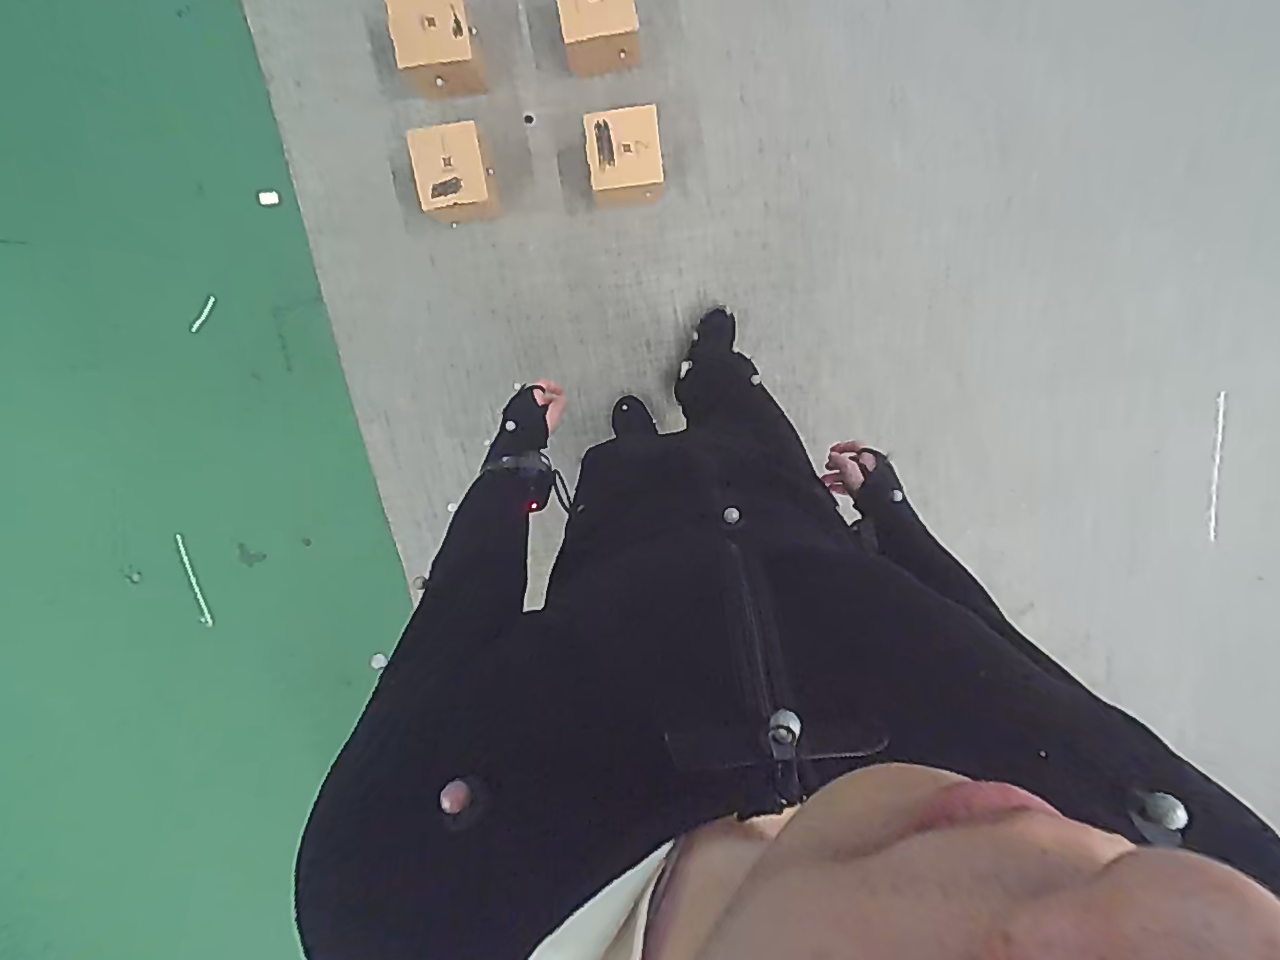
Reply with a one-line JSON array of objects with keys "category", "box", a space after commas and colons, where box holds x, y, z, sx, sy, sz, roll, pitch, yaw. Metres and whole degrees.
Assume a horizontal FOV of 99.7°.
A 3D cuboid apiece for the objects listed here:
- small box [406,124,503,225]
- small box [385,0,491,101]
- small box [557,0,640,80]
[{"category": "small box", "box": [-0.452, -0.749, 1.347, 0.168, 0.176, 0.179, -8, 102, 1]}, {"category": "small box", "box": [-0.471, -1.031, 1.281, 0.179, 0.176, 0.168, -6, 103, 1]}, {"category": "small box", "box": [-0.098, -1.085, 1.273, 0.179, 0.176, 0.168, -9, 102, 2]}]
